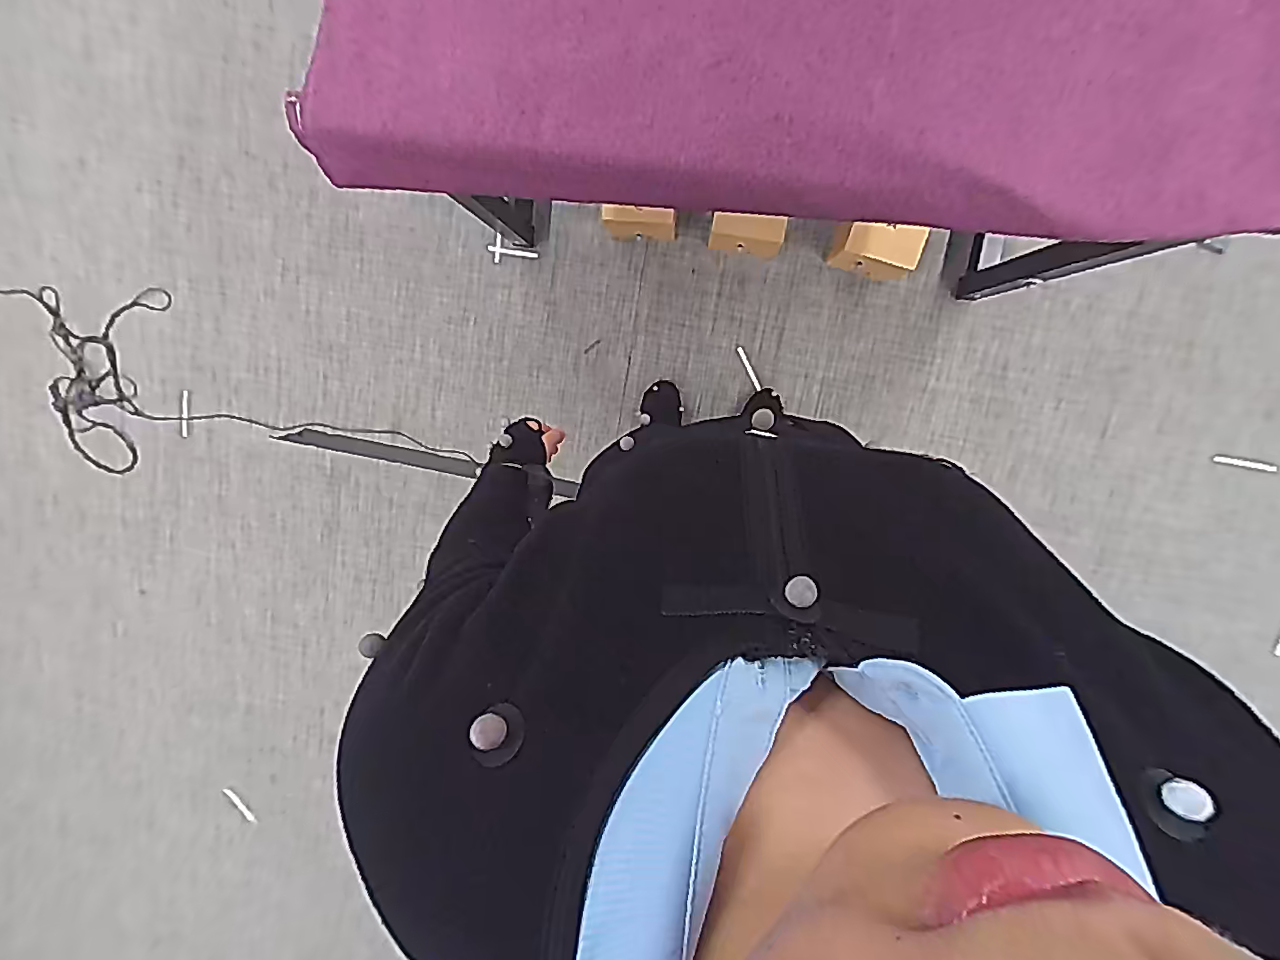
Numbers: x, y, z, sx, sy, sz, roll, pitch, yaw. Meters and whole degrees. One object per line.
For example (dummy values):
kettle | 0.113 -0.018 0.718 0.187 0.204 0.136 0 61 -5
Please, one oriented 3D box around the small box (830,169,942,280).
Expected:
small box | 0.565 -0.588 1.273 0.168 0.176 0.179 18 101 1

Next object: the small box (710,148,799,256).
small box | 0.263 -0.648 1.283 0.168 0.176 0.179 11 101 2
